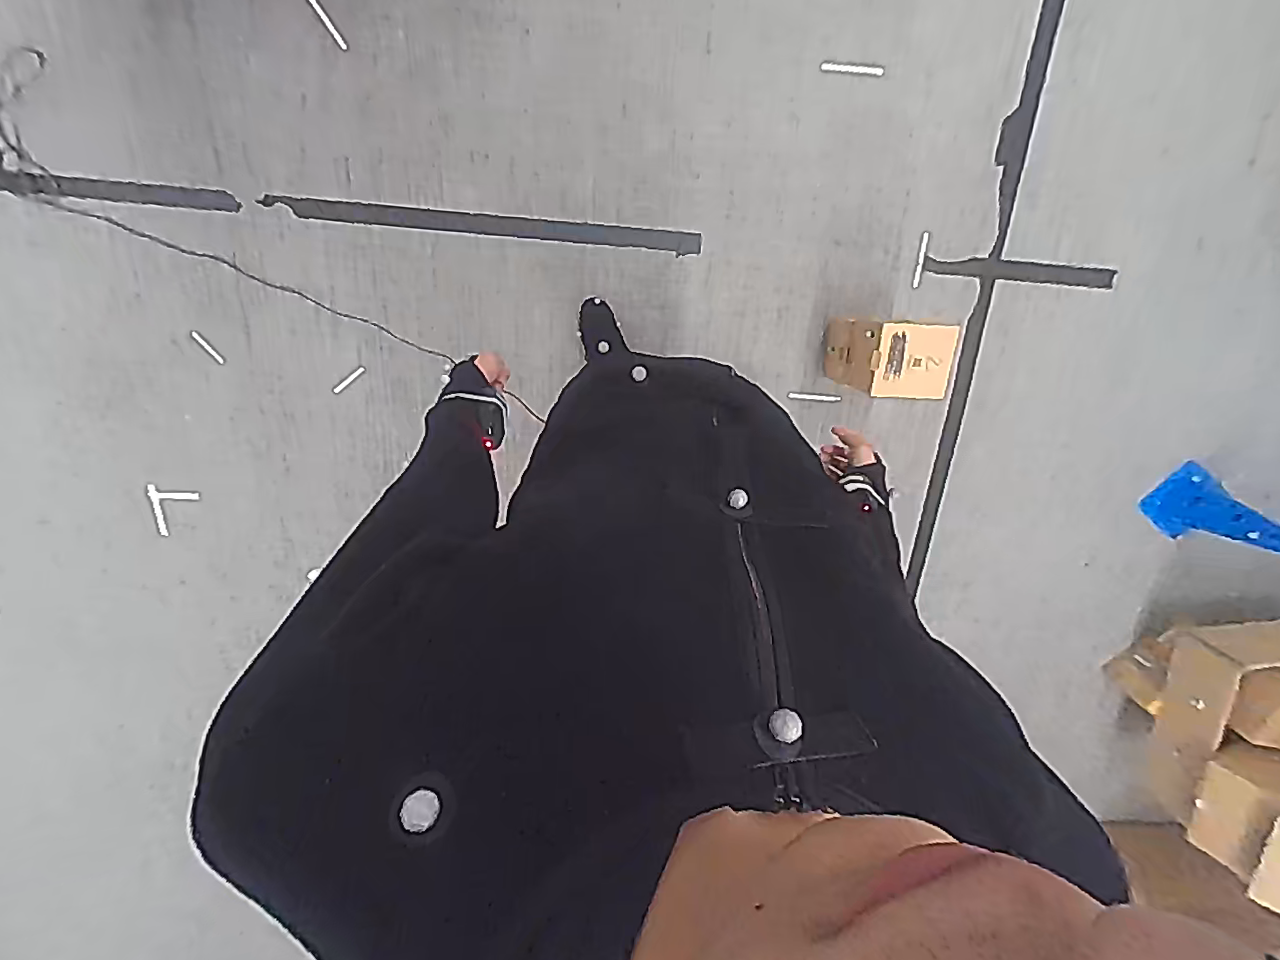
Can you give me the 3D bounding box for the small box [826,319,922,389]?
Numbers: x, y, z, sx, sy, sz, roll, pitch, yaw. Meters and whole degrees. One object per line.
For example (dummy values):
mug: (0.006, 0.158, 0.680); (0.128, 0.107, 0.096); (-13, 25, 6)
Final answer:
small box: (0.620, -0.343, 1.454); (0.179, 0.176, 0.168); (1, 110, 1)
